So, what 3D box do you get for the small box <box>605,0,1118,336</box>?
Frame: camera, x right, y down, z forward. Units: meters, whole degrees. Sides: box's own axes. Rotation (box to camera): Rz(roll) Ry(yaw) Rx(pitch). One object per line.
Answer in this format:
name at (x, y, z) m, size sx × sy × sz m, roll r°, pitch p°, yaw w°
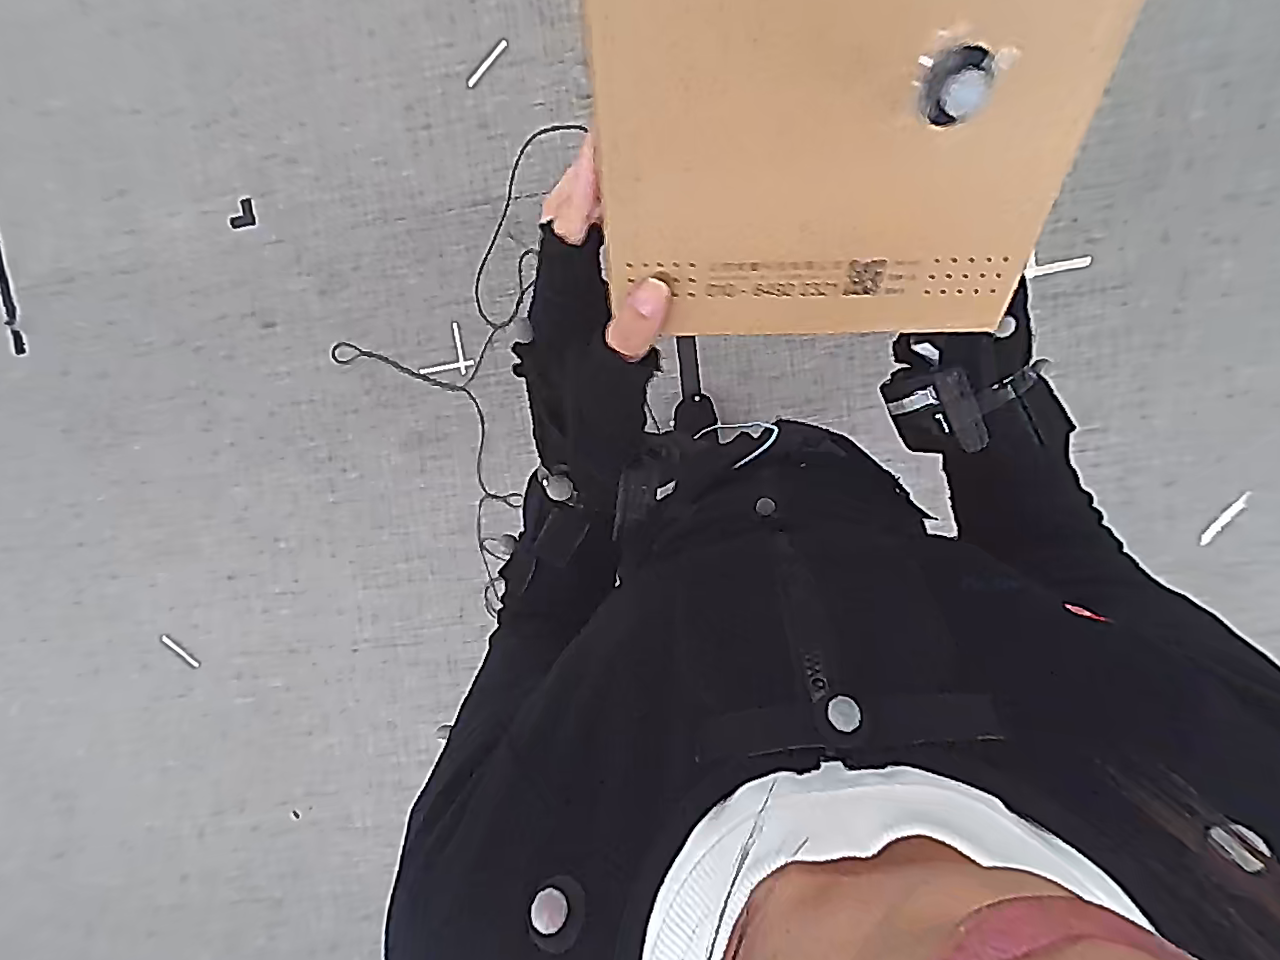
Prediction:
small box at (0.076, -0.179, 0.248) m, size 0.168 × 0.179 × 0.176 m, roll 1°, pitch 135°, yaw 3°
